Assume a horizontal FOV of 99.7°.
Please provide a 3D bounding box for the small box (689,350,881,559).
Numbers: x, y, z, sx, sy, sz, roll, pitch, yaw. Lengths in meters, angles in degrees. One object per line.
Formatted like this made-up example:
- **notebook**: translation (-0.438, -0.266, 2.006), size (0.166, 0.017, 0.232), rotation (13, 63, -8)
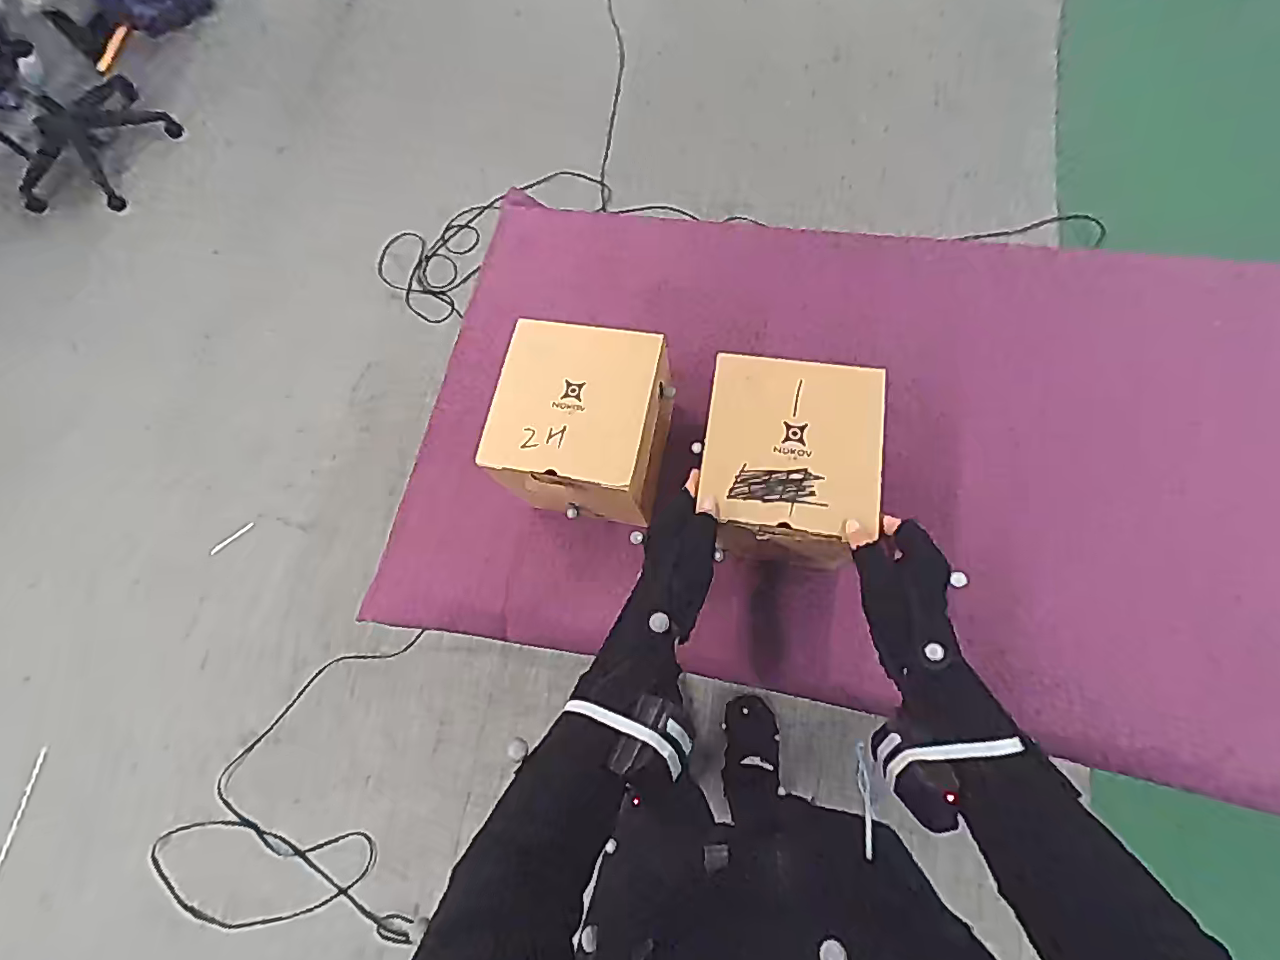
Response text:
- **small box**: translation (0.149, -0.017, 0.592), size (0.168, 0.176, 0.179), rotation (8, 73, 8)

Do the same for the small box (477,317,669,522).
- **small box**: translation (-0.062, -0.063, 0.638), size (0.168, 0.176, 0.179), rotation (9, 75, 11)
